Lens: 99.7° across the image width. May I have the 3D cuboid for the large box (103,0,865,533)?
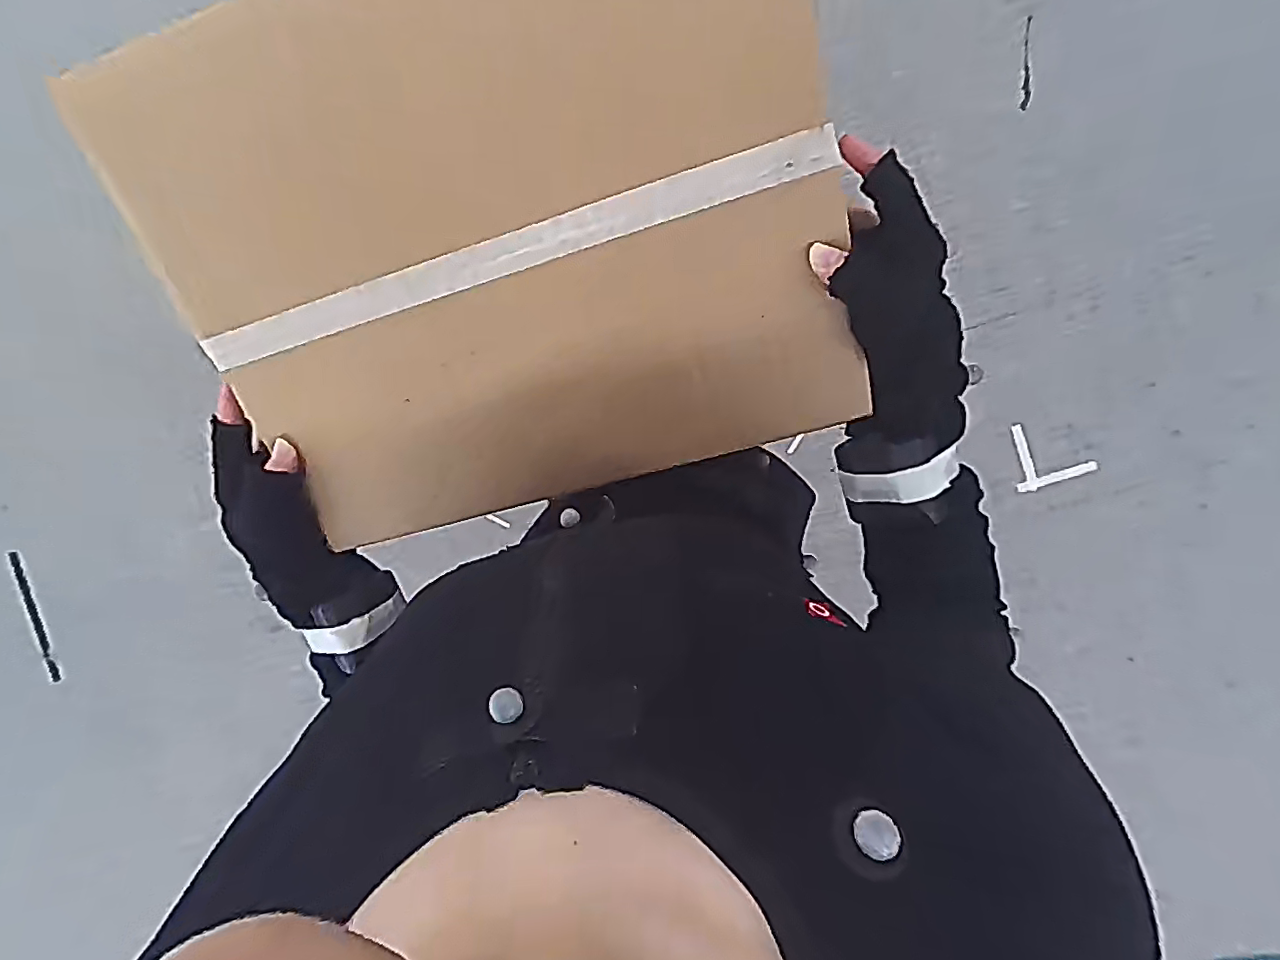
[{"bbox_3d":[-0.076,-0.199,0.471,0.408,0.320,0.320,-14,113,9],"label":"large box"}]
